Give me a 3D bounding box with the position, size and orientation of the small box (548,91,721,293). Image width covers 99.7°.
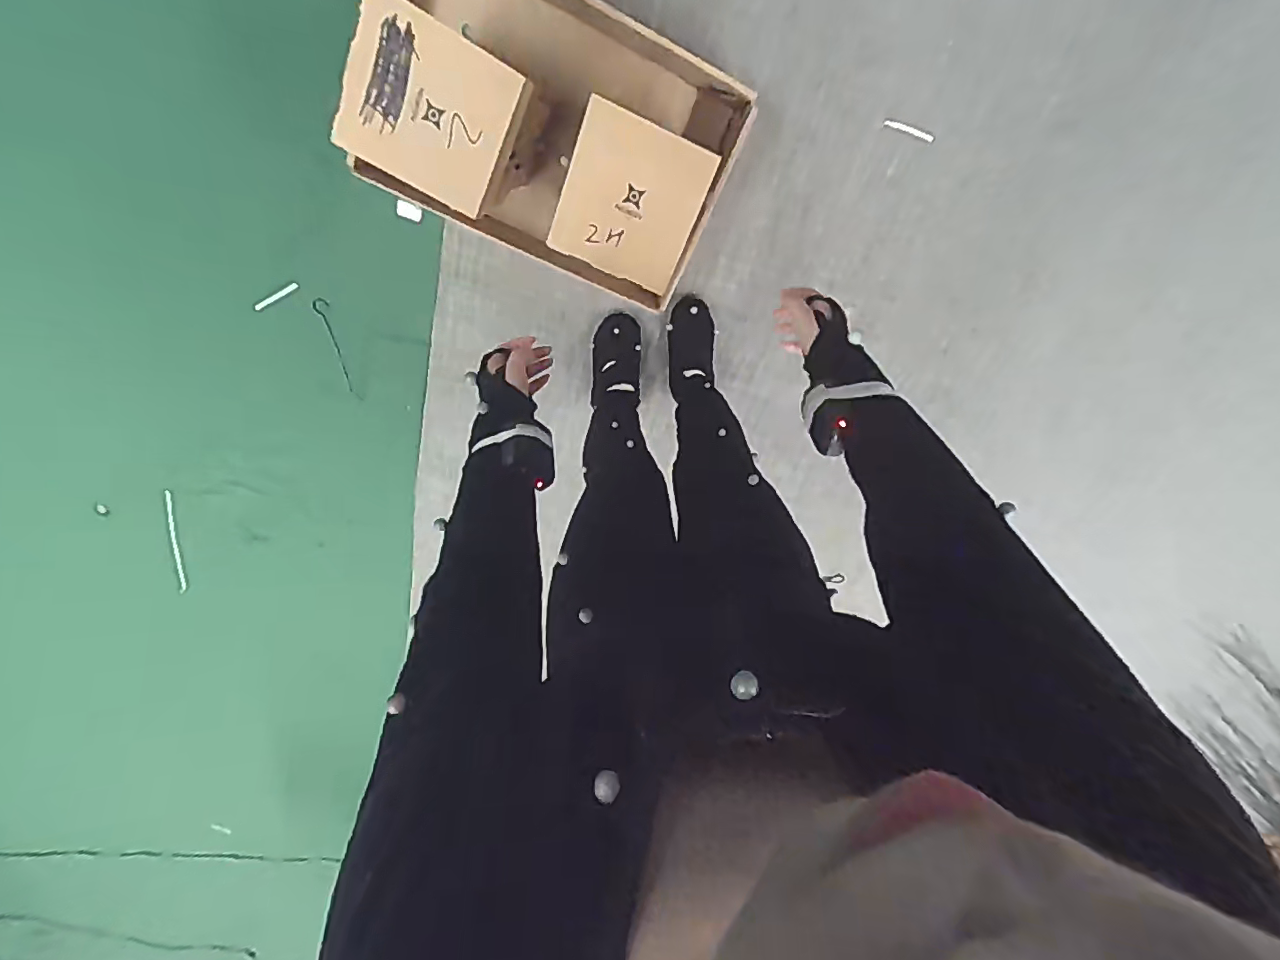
[{"bbox_3d":[-0.012,-0.383,0.730,0.168,0.176,0.179,20,119,-12],"label":"small box"}]
